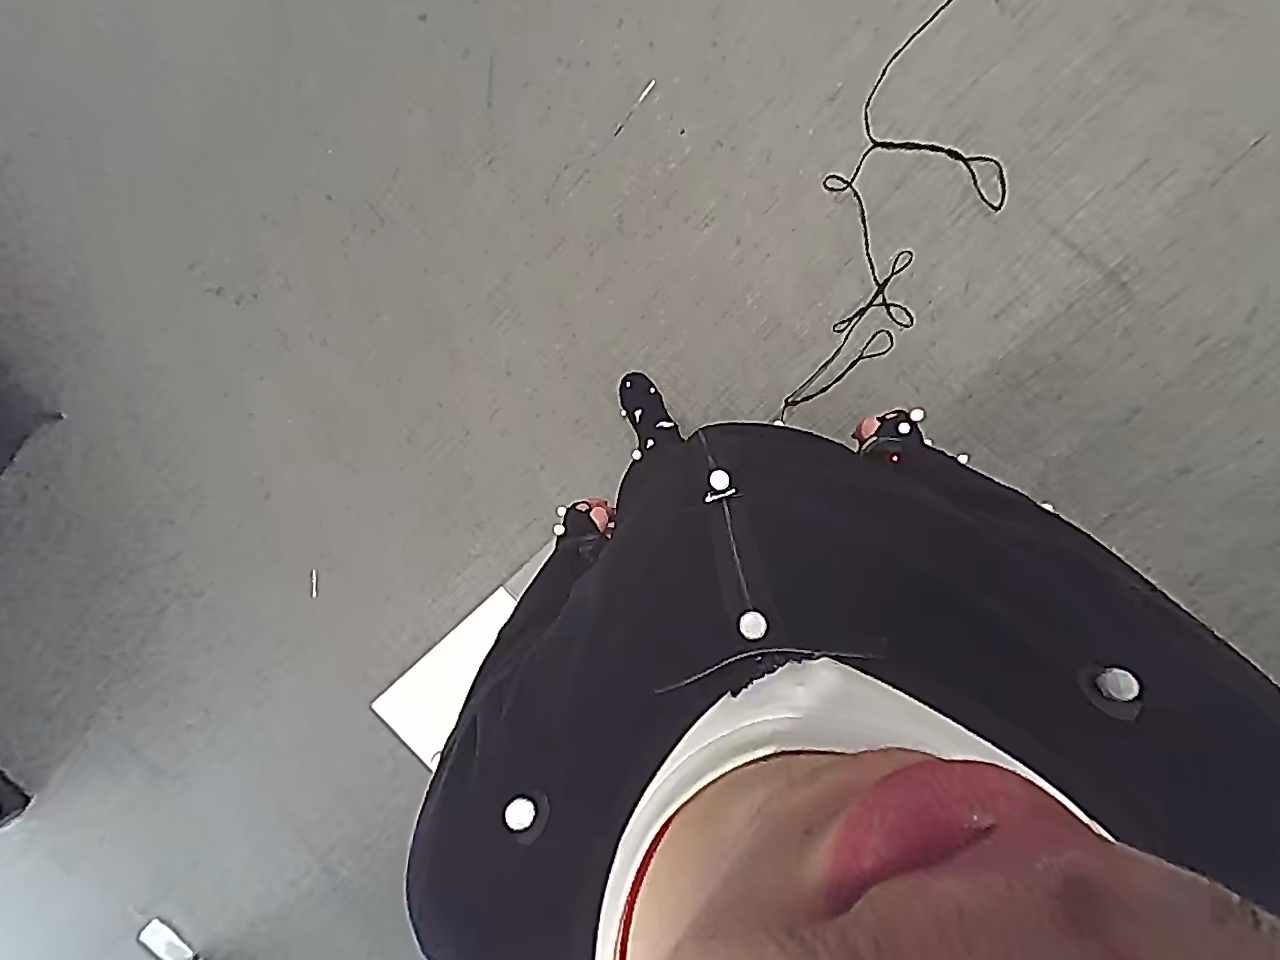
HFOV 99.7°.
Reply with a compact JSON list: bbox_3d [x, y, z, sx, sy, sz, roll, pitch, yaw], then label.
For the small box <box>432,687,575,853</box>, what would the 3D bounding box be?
[{"bbox_3d":[-0.239,0.525,1.004,0.179,0.176,0.168,-44,93,11],"label":"small box"}]
